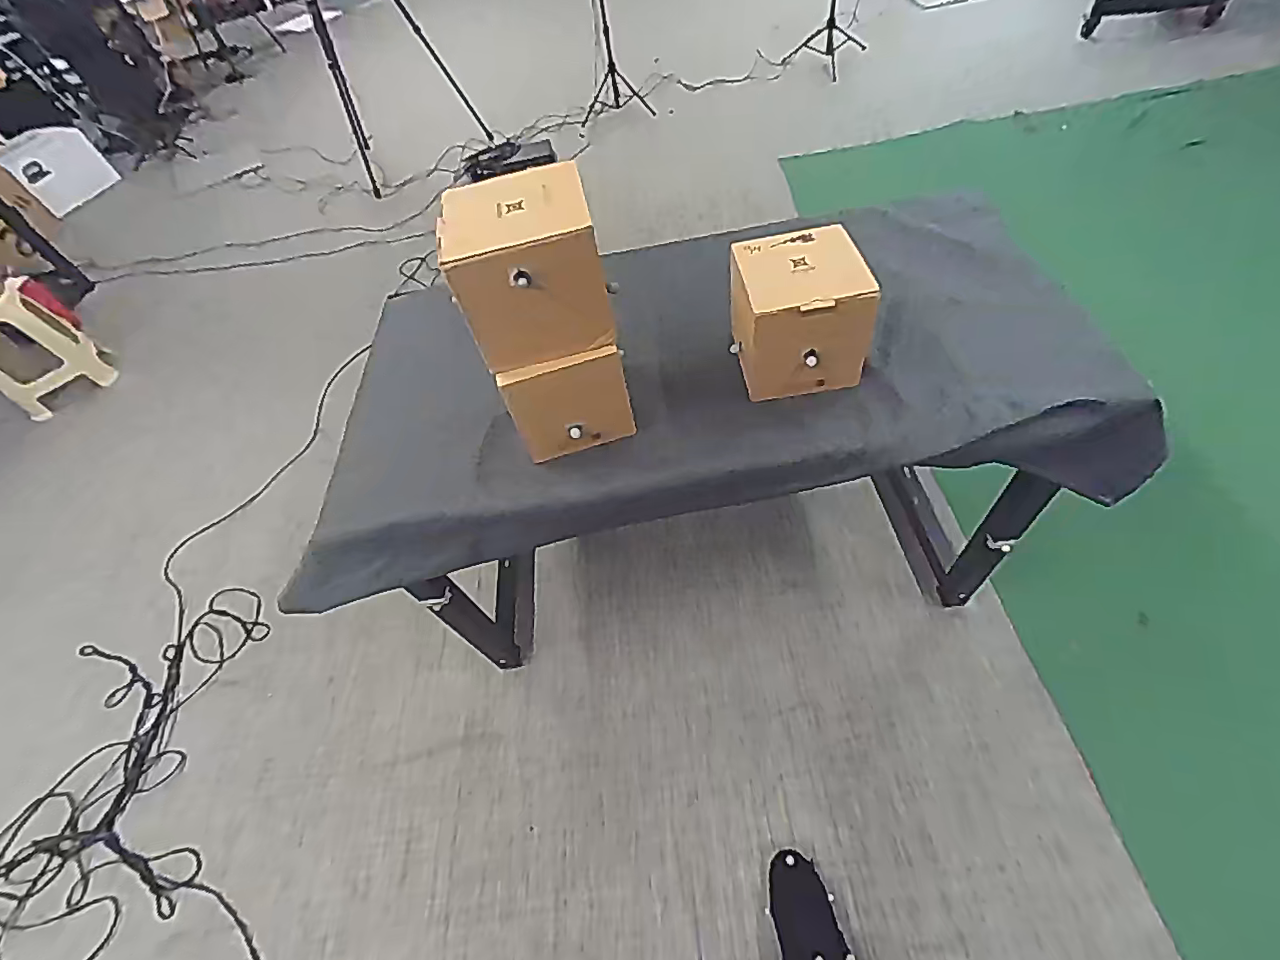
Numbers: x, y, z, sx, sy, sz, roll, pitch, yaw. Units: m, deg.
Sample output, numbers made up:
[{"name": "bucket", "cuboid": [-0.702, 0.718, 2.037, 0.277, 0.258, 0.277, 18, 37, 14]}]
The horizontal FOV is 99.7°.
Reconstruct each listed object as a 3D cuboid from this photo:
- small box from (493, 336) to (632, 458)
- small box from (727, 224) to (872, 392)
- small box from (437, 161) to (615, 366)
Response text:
[{"name": "small box", "cuboid": [-0.119, -0.163, 0.817, 0.168, 0.176, 0.179, -17, 54, -3]}, {"name": "small box", "cuboid": [0.230, -0.250, 0.819, 0.168, 0.176, 0.179, -9, 54, 4]}, {"name": "small box", "cuboid": [-0.140, -0.270, 0.695, 0.179, 0.176, 0.168, -13, 55, -1]}]
